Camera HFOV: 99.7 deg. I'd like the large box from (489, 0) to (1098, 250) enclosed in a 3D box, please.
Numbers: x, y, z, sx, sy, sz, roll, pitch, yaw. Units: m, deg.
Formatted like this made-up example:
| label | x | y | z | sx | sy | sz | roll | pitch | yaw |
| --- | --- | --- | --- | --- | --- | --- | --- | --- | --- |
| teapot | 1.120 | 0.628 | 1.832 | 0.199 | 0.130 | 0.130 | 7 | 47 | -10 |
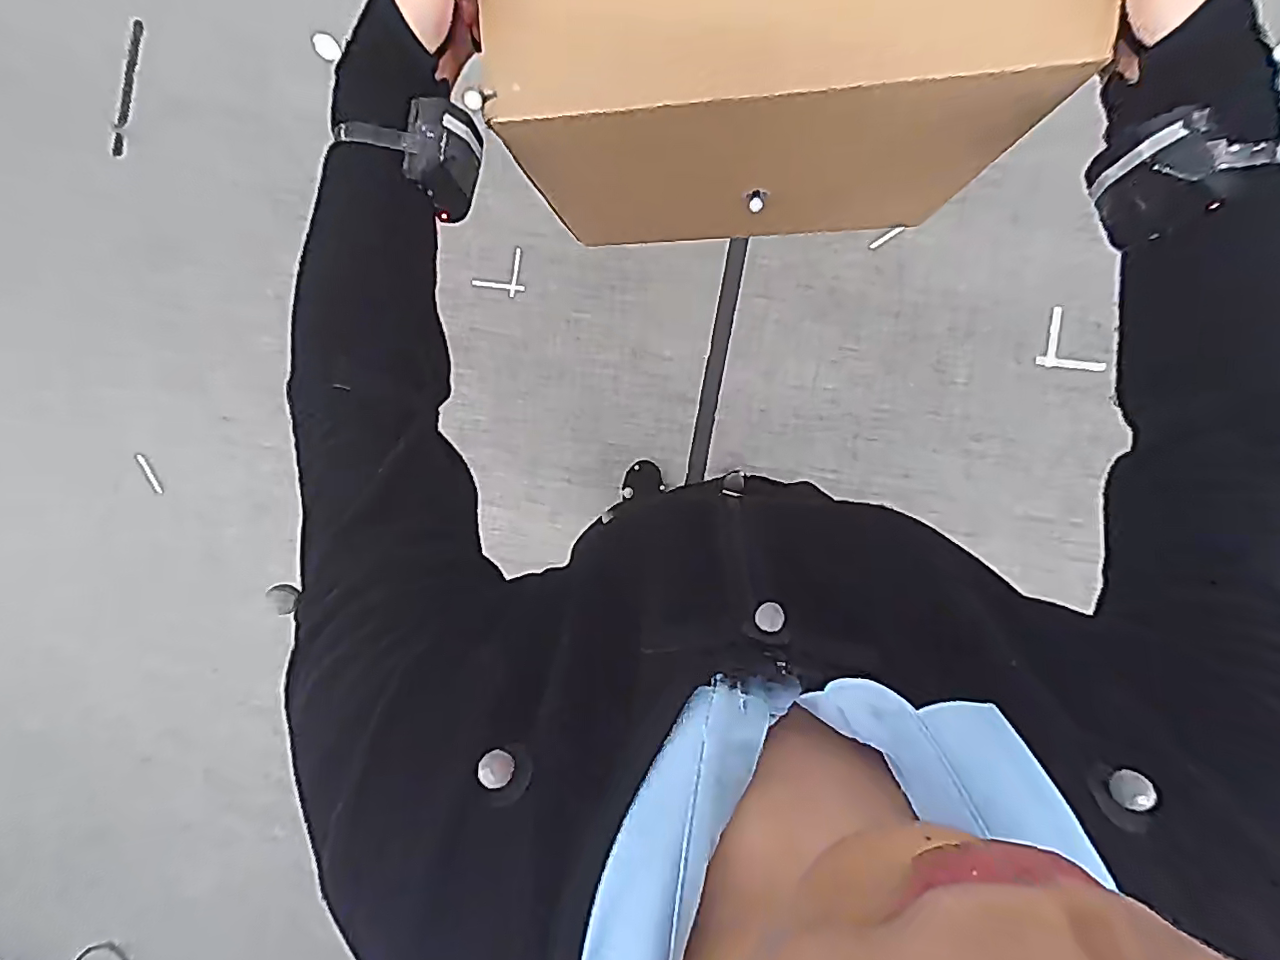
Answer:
| label | x | y | z | sx | sy | sz | roll | pitch | yaw |
| --- | --- | --- | --- | --- | --- | --- | --- | --- | --- |
| large box | 0.108 | -0.428 | 0.498 | 0.408 | 0.320 | 0.320 | -1 | 96 | 9 |
